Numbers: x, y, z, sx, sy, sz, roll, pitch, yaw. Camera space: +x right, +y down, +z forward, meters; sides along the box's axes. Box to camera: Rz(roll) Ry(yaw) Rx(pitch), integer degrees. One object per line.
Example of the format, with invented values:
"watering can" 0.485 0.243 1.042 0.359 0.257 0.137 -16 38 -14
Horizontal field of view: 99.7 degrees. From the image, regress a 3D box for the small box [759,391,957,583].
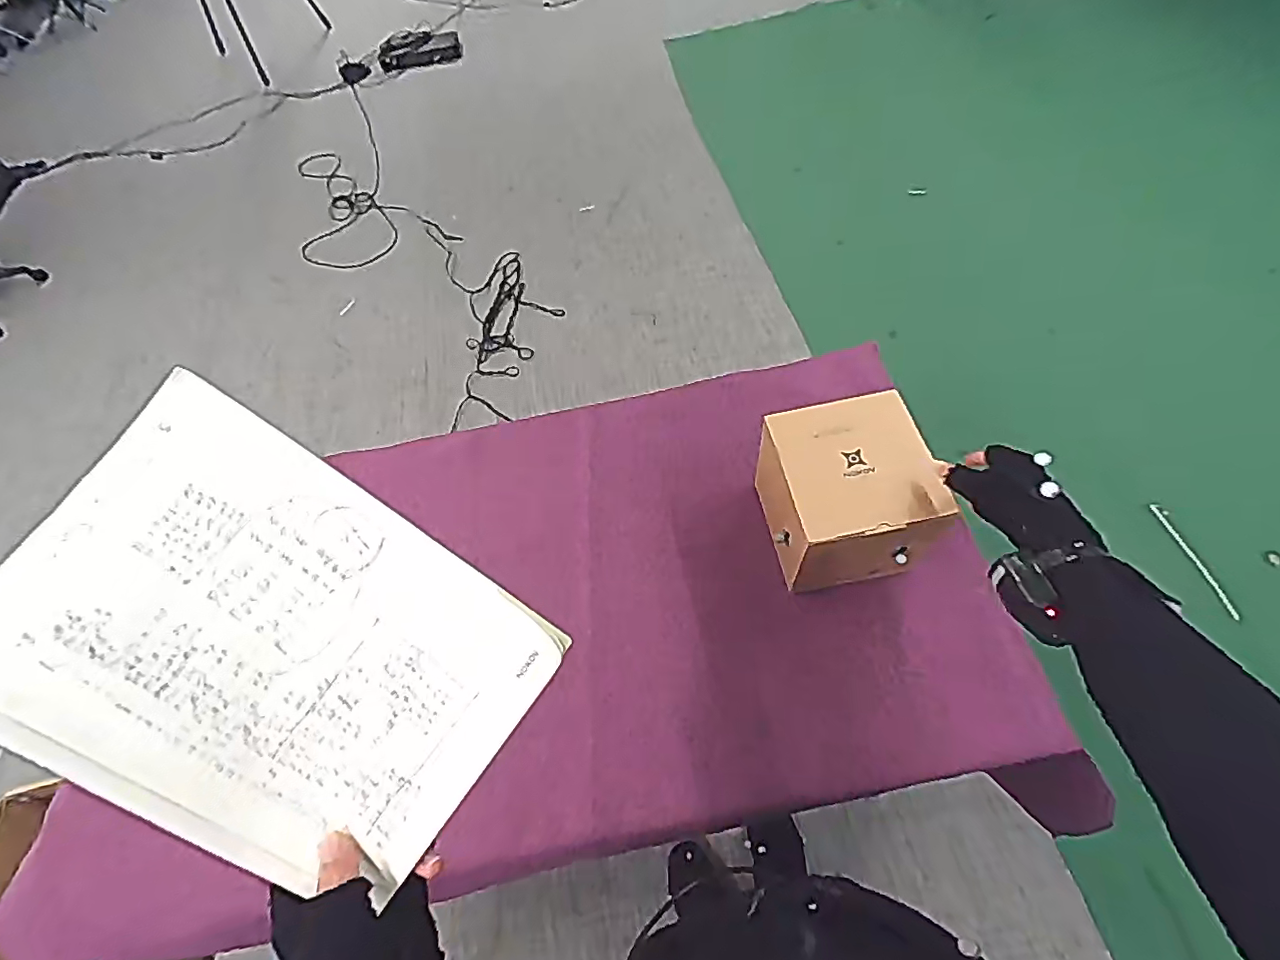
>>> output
"small box" 0.254 0.019 0.680 0.168 0.176 0.179 -11 59 1
